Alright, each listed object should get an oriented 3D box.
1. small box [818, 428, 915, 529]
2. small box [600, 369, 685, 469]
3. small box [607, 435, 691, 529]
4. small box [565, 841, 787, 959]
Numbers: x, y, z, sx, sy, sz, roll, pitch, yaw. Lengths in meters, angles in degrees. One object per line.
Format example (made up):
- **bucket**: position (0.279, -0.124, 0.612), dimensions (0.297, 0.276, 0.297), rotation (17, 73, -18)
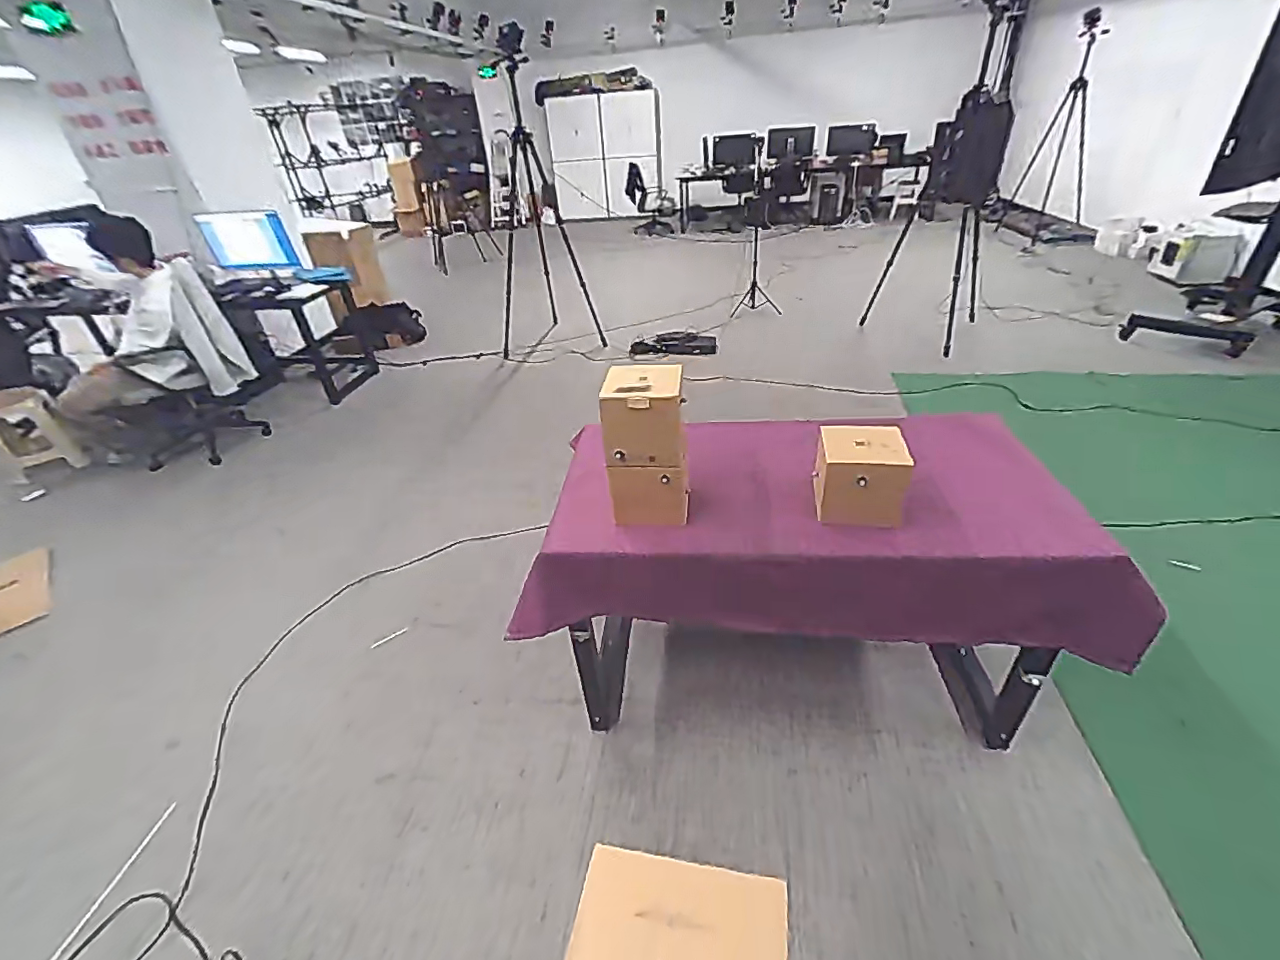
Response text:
- **small box**: position (0.502, -0.004, 1.227), dimensions (0.179, 0.176, 0.168), rotation (2, 35, 12)
- **small box**: position (0.014, -0.135, 1.208), dimensions (0.168, 0.176, 0.179), rotation (0, 32, 8)
- **small box**: position (0.028, 0.005, 1.294), dimensions (0.179, 0.176, 0.168), rotation (0, 34, 8)
- **small box**: position (0.031, 0.437, 0.432), dimensions (0.168, 0.176, 0.179), rotation (2, 33, 14)
